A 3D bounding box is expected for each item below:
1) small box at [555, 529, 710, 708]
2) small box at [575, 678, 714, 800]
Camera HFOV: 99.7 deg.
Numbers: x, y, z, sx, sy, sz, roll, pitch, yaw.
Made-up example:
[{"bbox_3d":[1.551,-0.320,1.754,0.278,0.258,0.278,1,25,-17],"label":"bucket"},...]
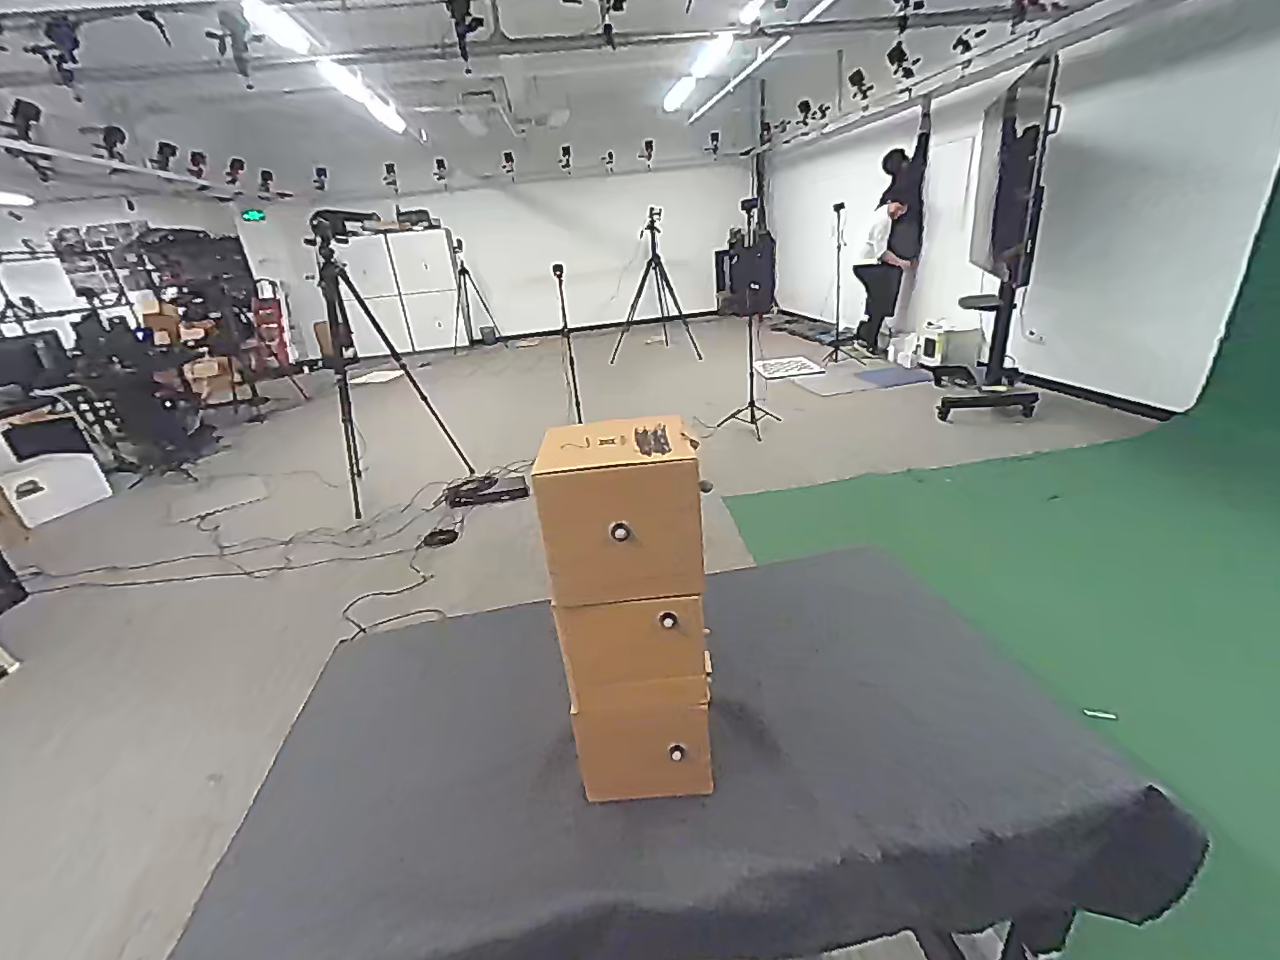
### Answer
[{"bbox_3d":[-0.004,0.181,0.723,0.179,0.176,0.168,-4,23,2],"label":"small box"},{"bbox_3d":[0.012,0.331,0.783,0.179,0.176,0.168,-6,23,3],"label":"small box"}]
